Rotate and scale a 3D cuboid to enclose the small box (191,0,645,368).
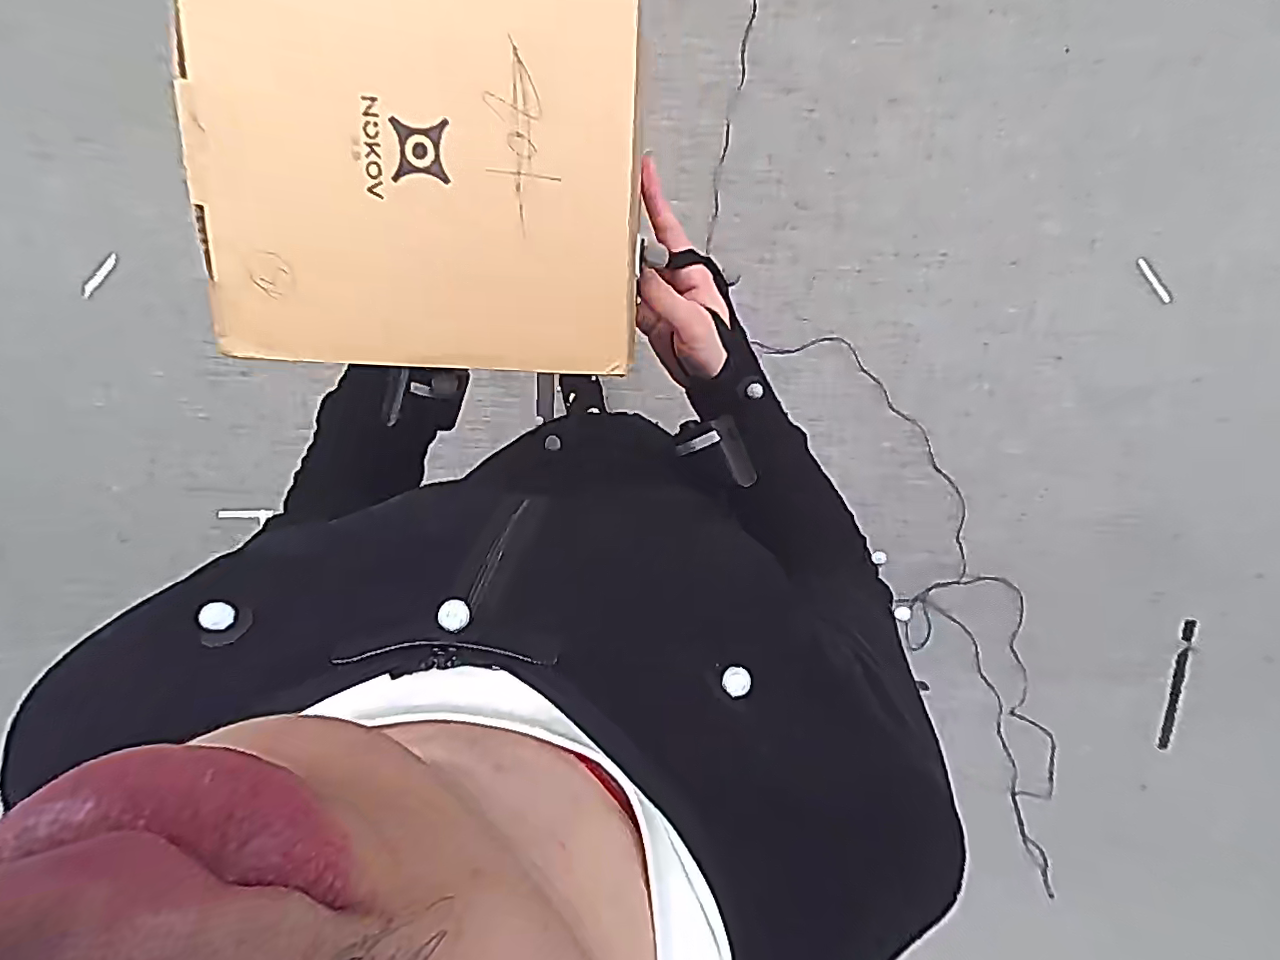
[{"bbox_3d":[-0.089,-0.151,0.298,0.179,0.176,0.168,3,104,0],"label":"small box"}]
